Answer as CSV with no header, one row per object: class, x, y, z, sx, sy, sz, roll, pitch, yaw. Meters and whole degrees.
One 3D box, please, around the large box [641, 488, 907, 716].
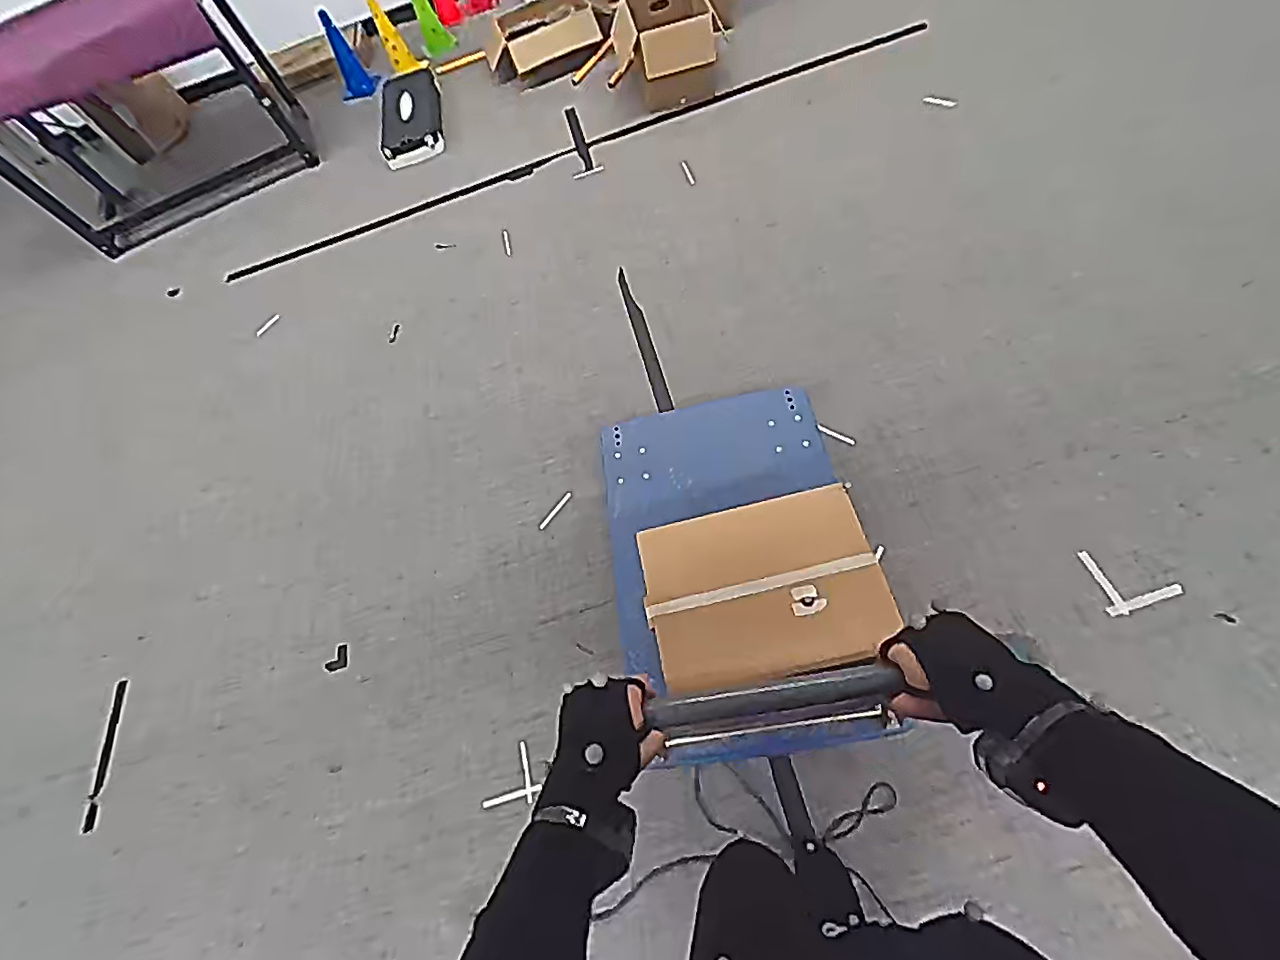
large box,0.244,0.263,1.098,0.408,0.320,0.320,-14,62,3
